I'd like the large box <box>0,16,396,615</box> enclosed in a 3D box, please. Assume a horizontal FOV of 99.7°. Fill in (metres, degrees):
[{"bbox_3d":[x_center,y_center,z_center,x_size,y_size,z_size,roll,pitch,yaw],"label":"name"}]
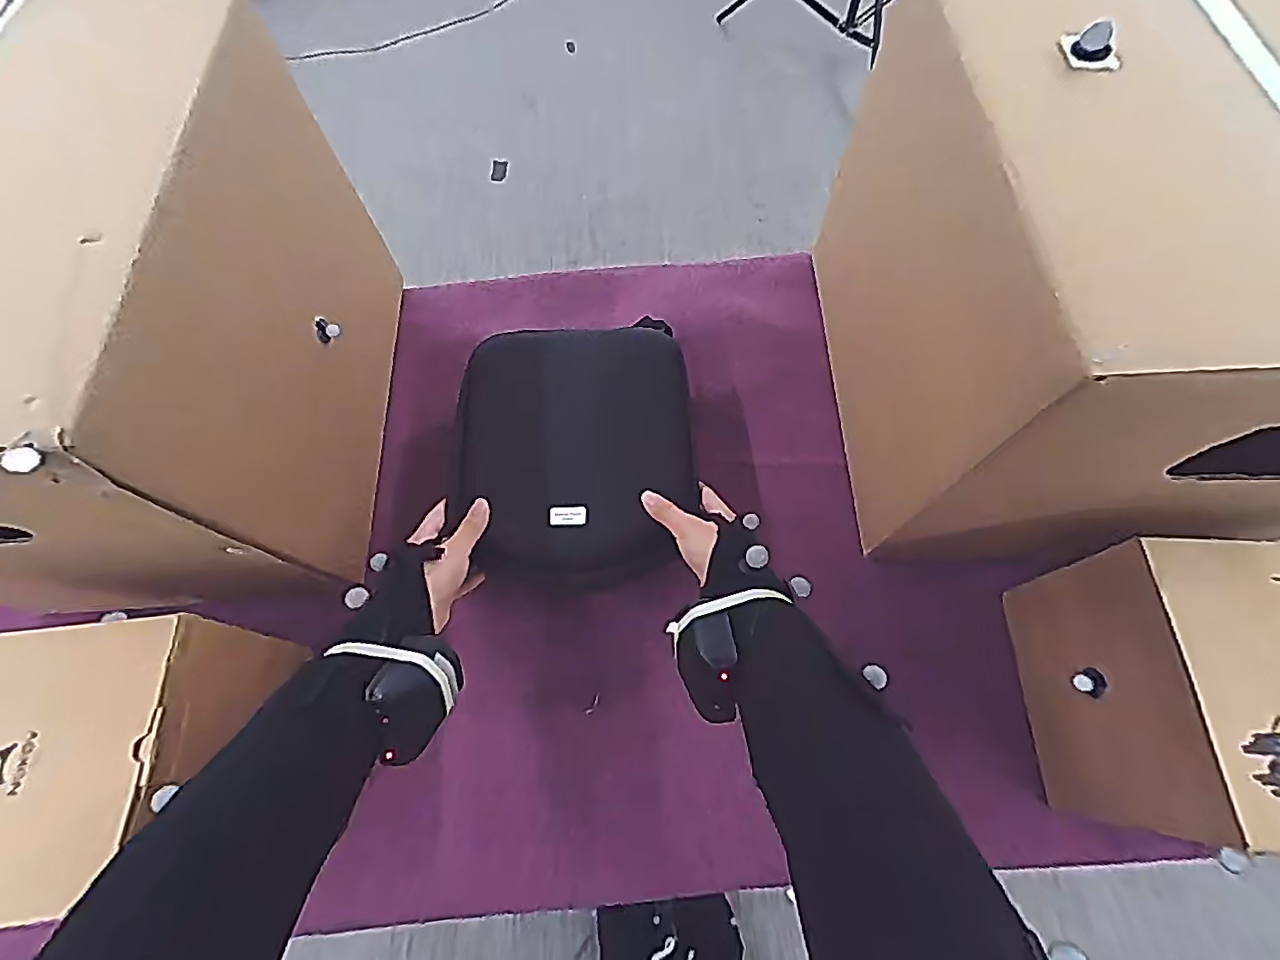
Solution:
[{"bbox_3d":[-0.442,-0.114,0.483,0.320,0.320,0.408,-5,68,-1],"label":"large box"}]
